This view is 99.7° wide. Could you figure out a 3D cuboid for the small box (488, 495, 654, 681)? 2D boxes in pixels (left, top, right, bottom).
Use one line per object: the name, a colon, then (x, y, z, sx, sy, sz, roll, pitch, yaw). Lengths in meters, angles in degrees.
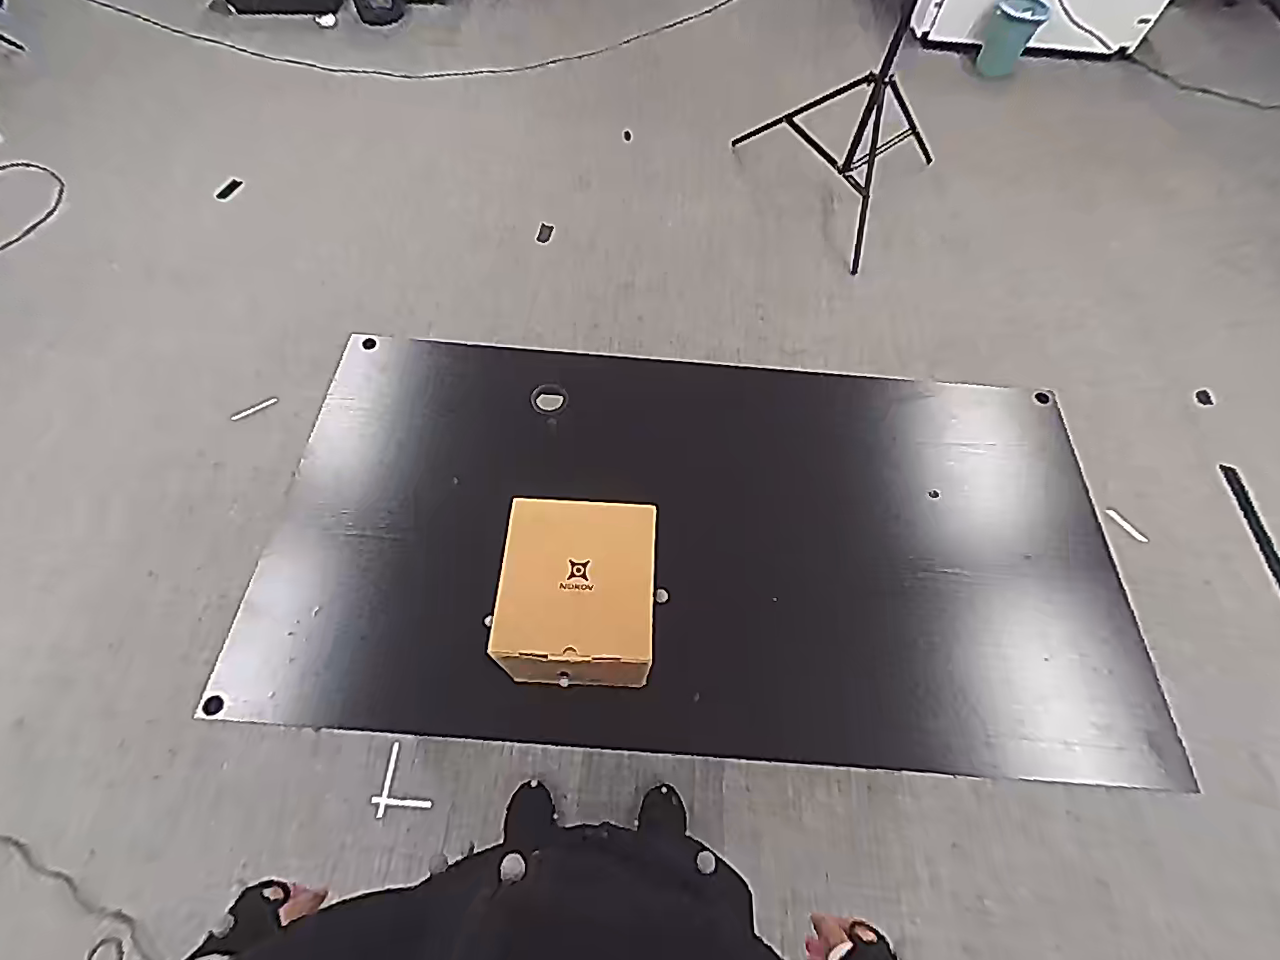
small box: (-0.073, 0.136, 0.654, 0.168, 0.176, 0.179, 3, 62, -1)
